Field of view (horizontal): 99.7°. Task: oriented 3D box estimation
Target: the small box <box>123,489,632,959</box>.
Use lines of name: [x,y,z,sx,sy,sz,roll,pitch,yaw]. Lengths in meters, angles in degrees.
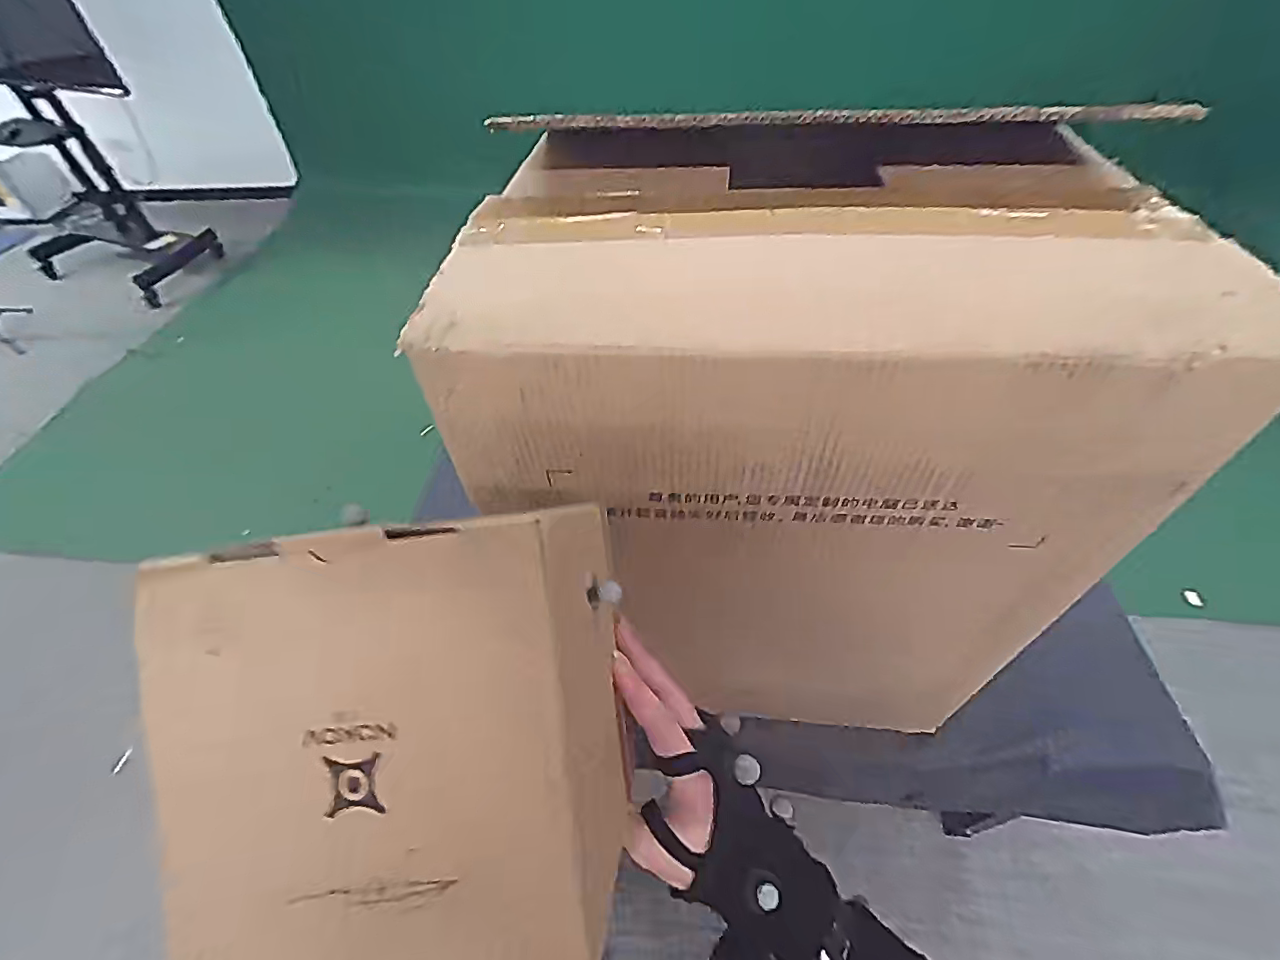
small box: [-0.099,0.099,0.278,0.168,0.176,0.179,-7,90,4]
